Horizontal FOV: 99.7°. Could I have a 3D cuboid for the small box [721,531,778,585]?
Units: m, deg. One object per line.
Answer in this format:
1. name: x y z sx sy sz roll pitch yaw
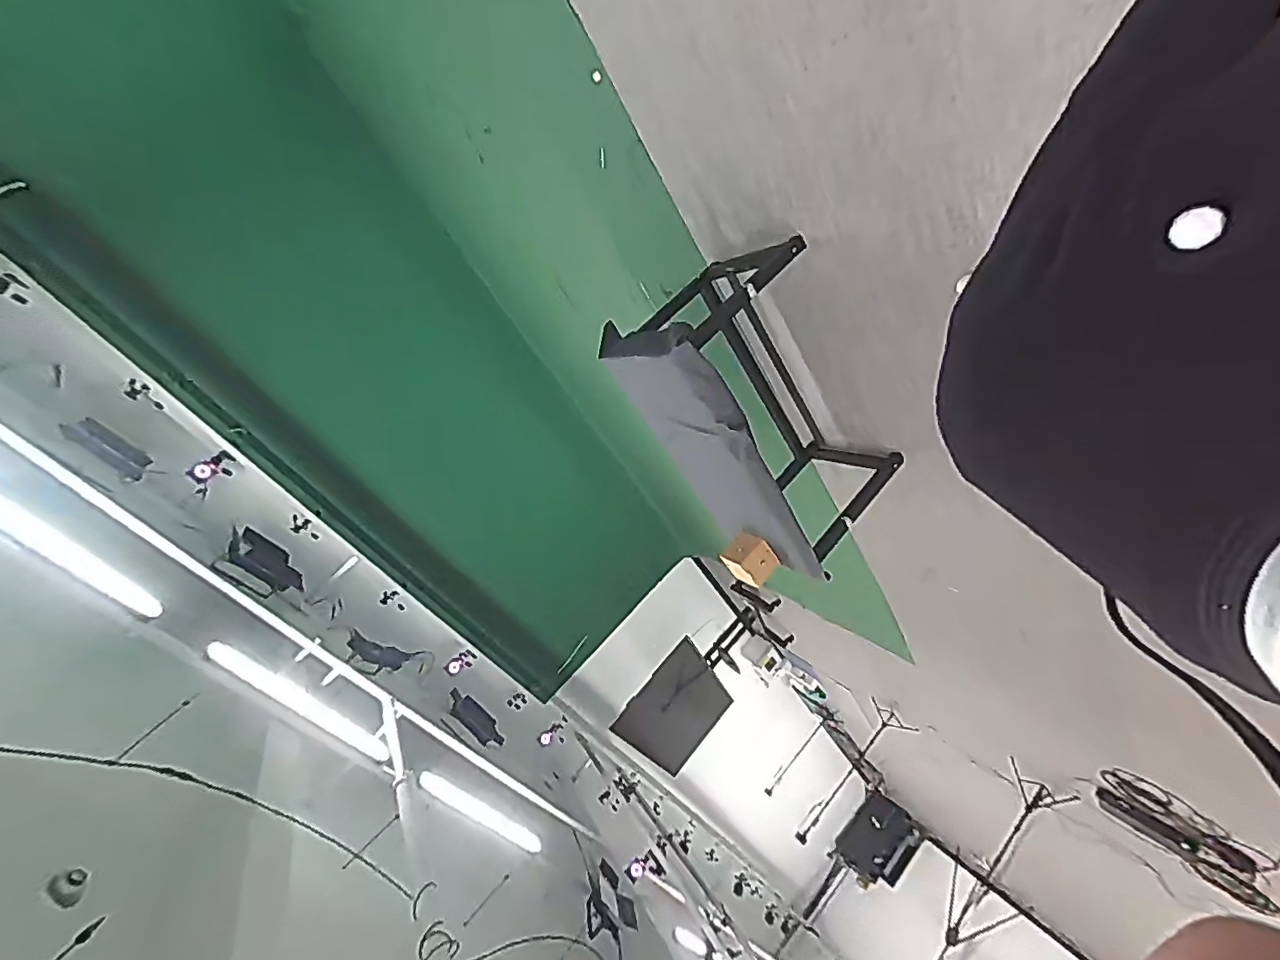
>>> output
1. small box: 0.526 0.363 2.554 0.168 0.176 0.179 52 164 -22
